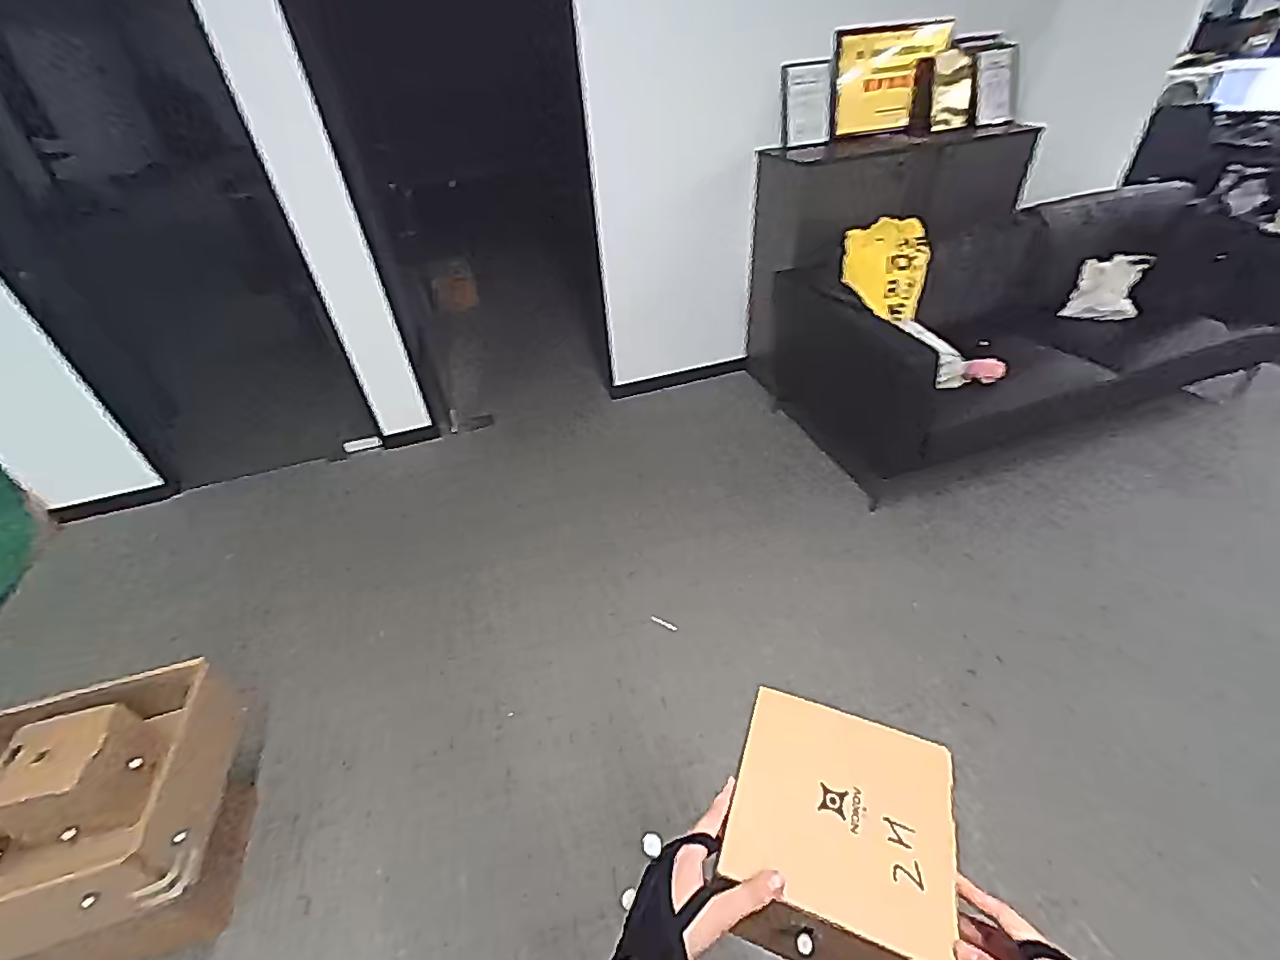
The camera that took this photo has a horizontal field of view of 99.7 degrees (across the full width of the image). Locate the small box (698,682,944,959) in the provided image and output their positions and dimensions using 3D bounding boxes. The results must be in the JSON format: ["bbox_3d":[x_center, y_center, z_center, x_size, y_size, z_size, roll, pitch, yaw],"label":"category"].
[{"bbox_3d":[0.158,0.326,0.500,0.179,0.176,0.168,14,43,17],"label":"small box"}]
